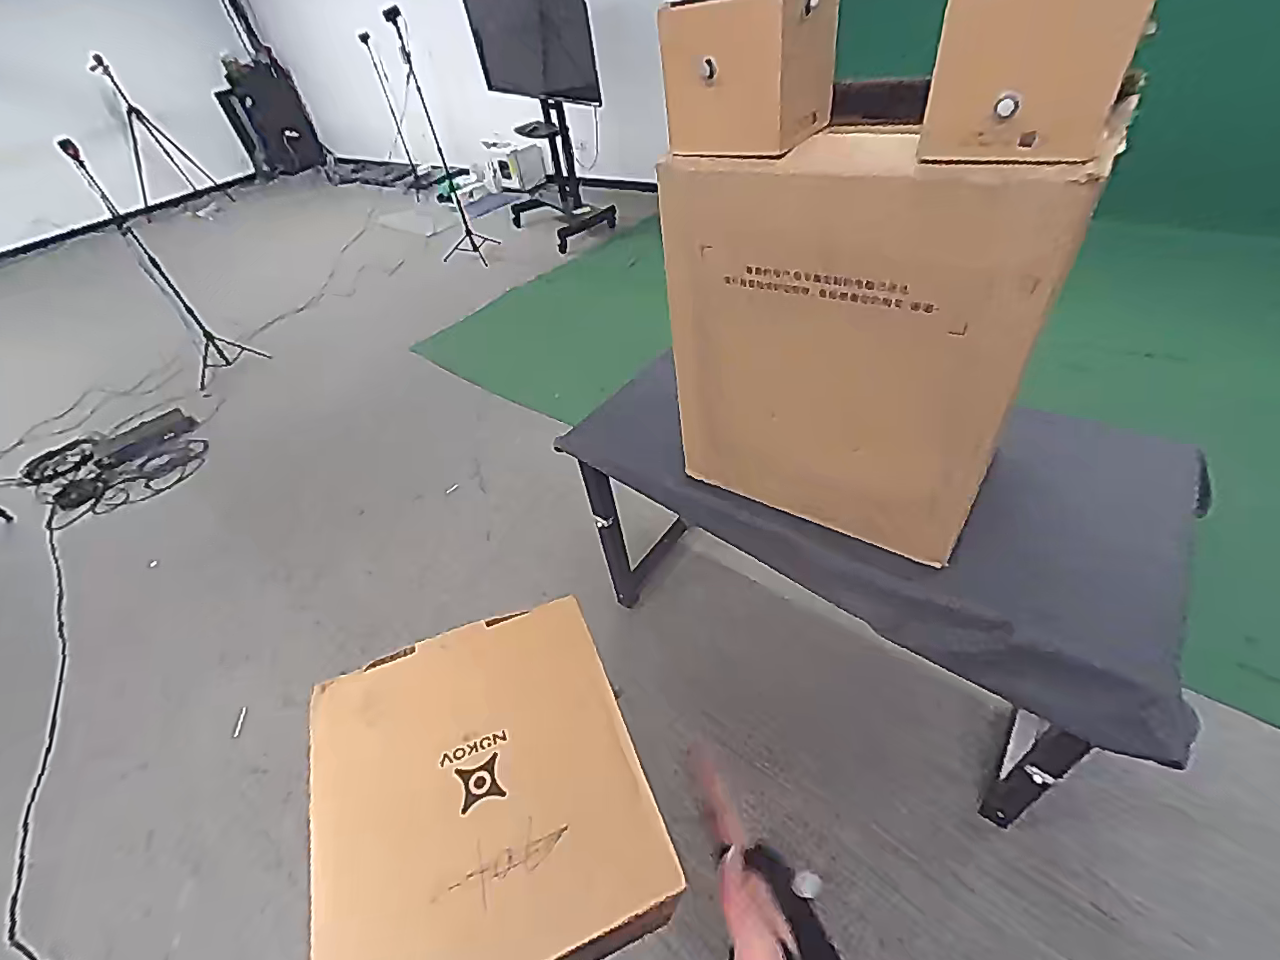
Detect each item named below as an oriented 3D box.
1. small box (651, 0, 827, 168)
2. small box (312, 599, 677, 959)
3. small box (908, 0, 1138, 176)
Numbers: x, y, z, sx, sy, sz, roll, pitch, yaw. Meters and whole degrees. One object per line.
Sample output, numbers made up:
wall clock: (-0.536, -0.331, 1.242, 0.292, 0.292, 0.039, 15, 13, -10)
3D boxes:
small box: (0.141, -0.546, 0.748, 0.179, 0.176, 0.168, 20, 51, 32)
small box: (-0.089, 0.214, 0.351, 0.168, 0.176, 0.179, -16, 49, -15)
small box: (0.408, -0.450, 0.587, 0.168, 0.176, 0.179, 17, 50, 26)
